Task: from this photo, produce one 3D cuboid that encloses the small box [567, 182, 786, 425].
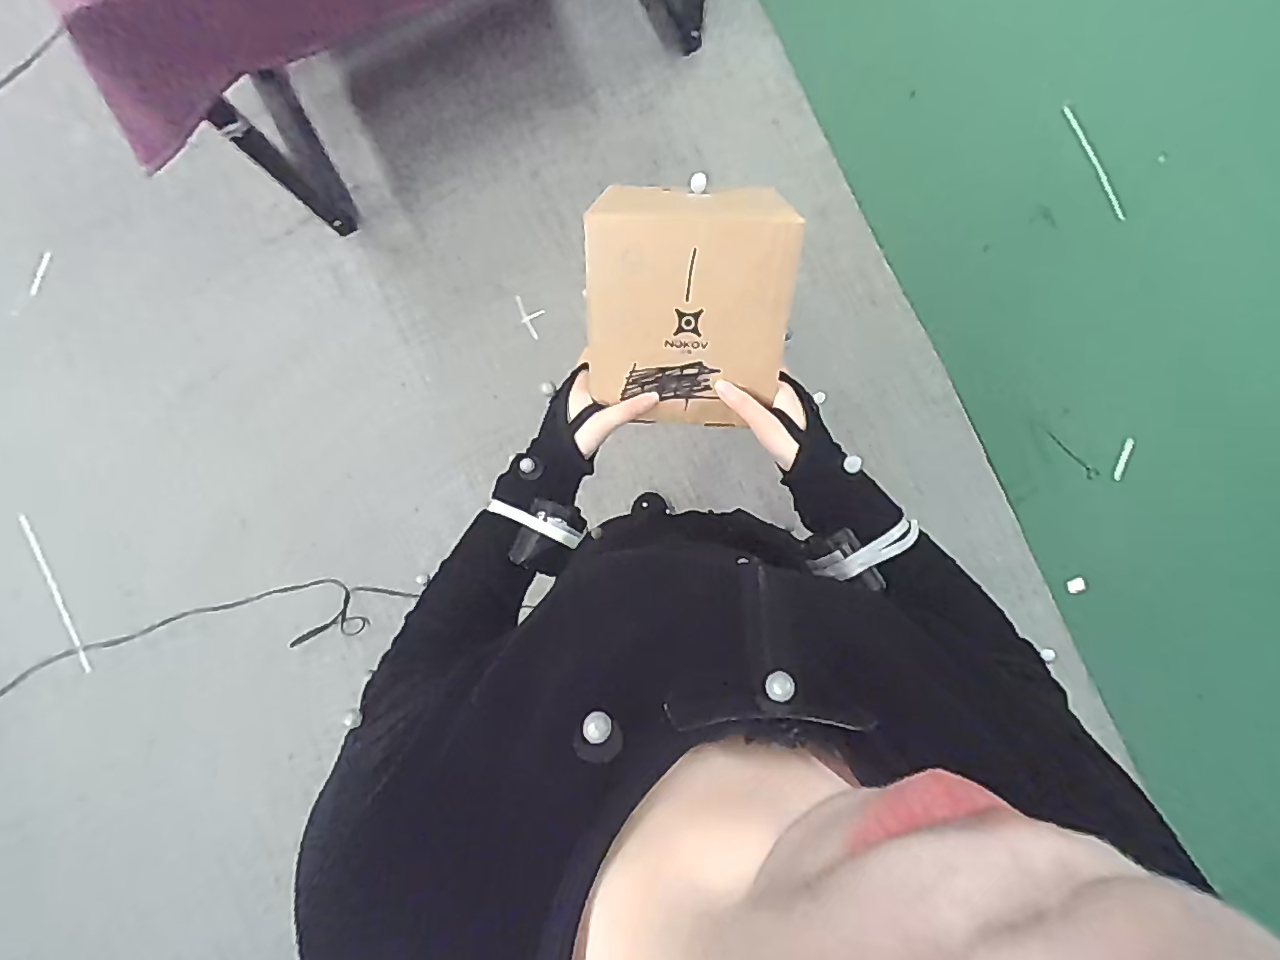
[{"bbox_3d":[0.030,-0.170,0.509,0.168,0.176,0.179,2,124,2],"label":"small box"}]
